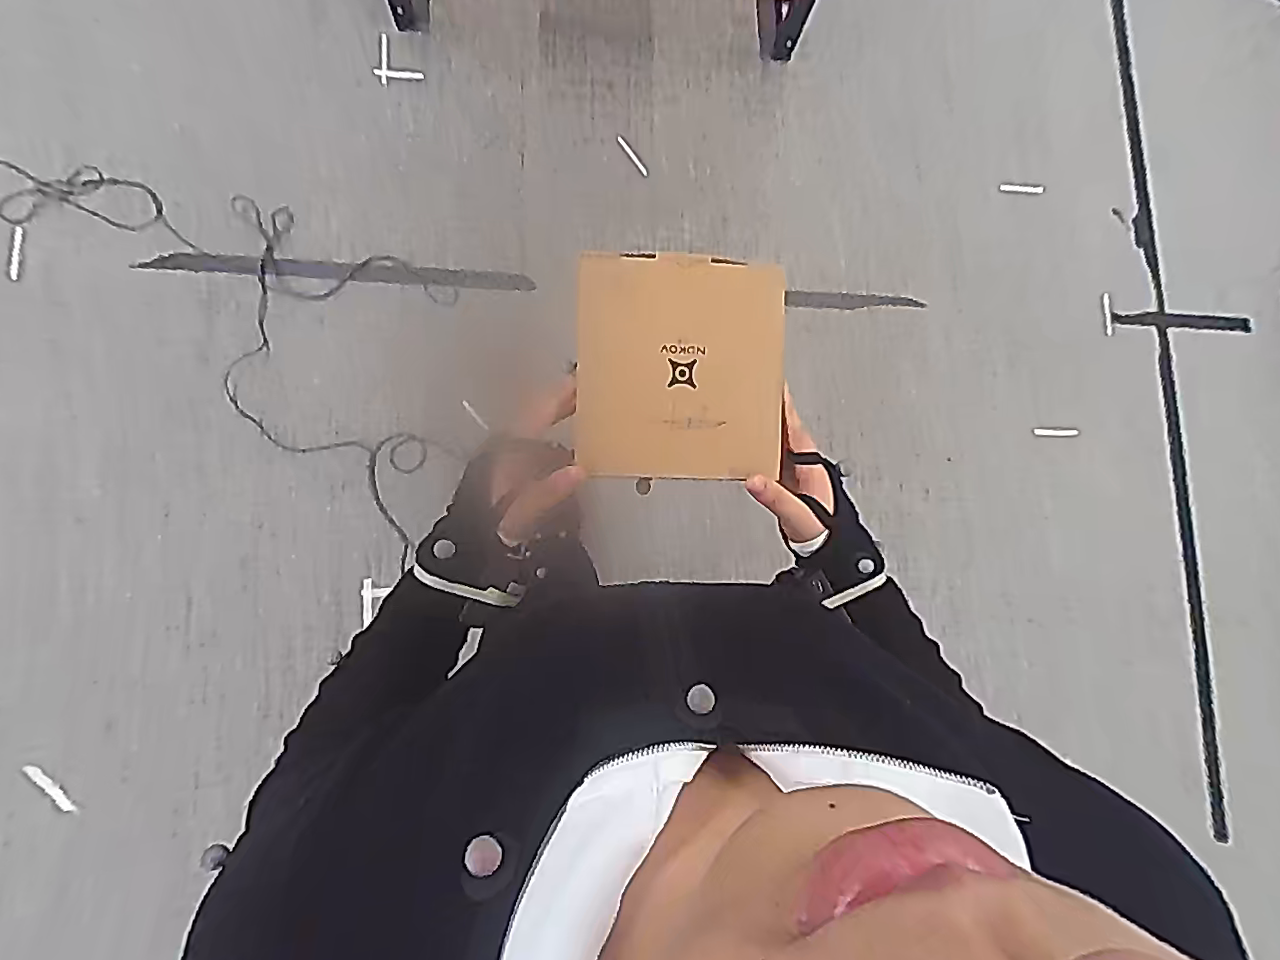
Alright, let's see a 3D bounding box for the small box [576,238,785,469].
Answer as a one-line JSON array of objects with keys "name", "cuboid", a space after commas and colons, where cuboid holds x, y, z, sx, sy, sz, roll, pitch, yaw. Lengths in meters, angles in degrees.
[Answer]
[{"name": "small box", "cuboid": [0.025, -0.101, 0.508, 0.168, 0.176, 0.179, 1, 91, -6]}]
